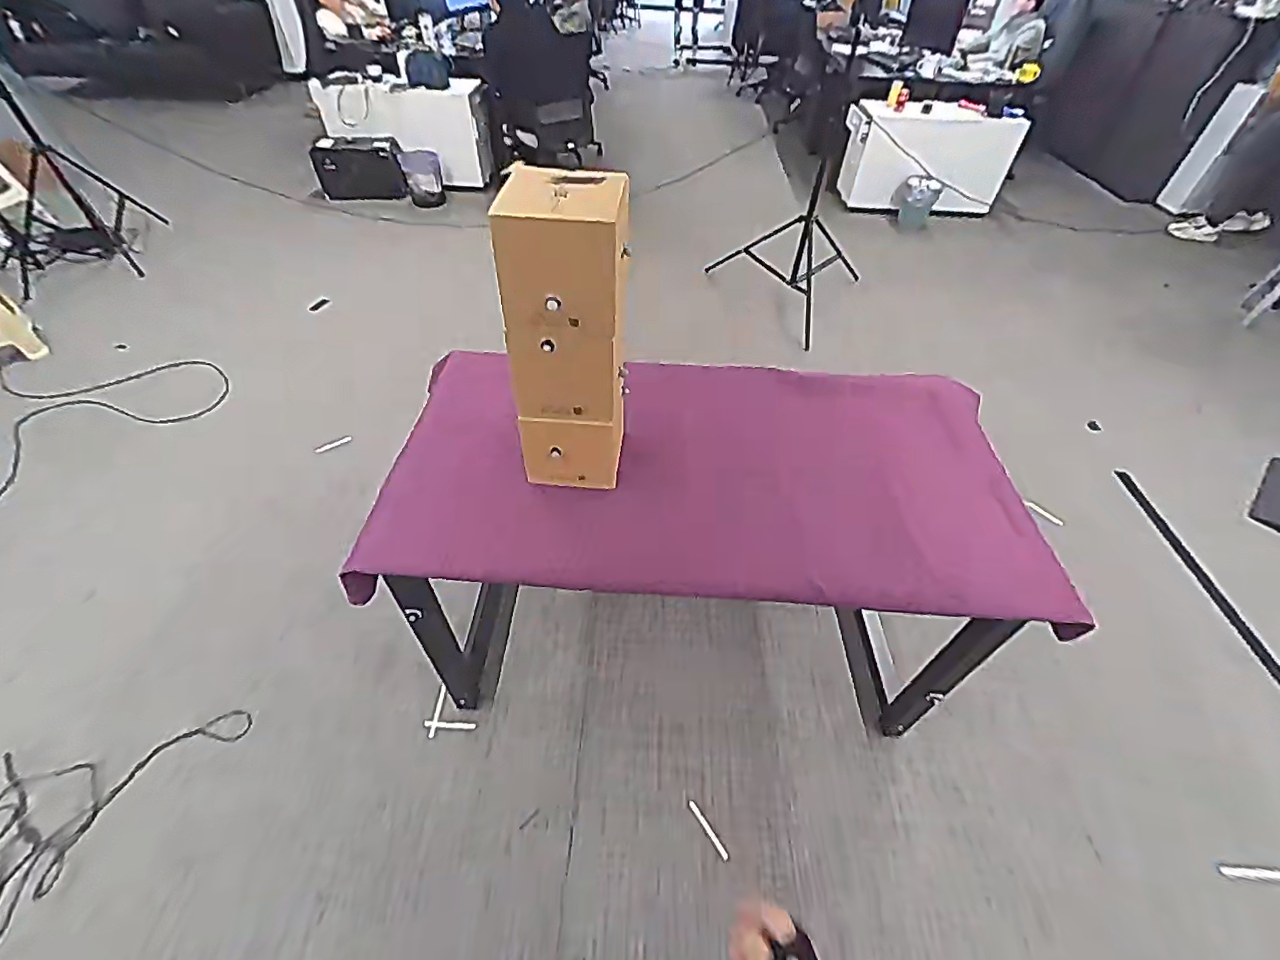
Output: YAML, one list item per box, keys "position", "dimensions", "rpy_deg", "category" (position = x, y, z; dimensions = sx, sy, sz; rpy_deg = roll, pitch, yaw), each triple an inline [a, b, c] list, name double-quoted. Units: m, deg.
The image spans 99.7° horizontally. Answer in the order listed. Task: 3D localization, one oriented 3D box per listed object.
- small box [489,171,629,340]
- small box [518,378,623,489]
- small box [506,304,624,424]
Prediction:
- position: [-0.107, -0.328, 0.792]
  dimensions: [0.168, 0.176, 0.179]
  rpy_deg: [4, 47, 1]
  category: "small box"
- position: [-0.122, -0.100, 1.028]
  dimensions: [0.168, 0.176, 0.179]
  rpy_deg: [4, 46, 1]
  category: "small box"
- position: [-0.116, -0.217, 0.913]
  dimensions: [0.168, 0.176, 0.179]
  rpy_deg: [3, 46, 1]
  category: "small box"
